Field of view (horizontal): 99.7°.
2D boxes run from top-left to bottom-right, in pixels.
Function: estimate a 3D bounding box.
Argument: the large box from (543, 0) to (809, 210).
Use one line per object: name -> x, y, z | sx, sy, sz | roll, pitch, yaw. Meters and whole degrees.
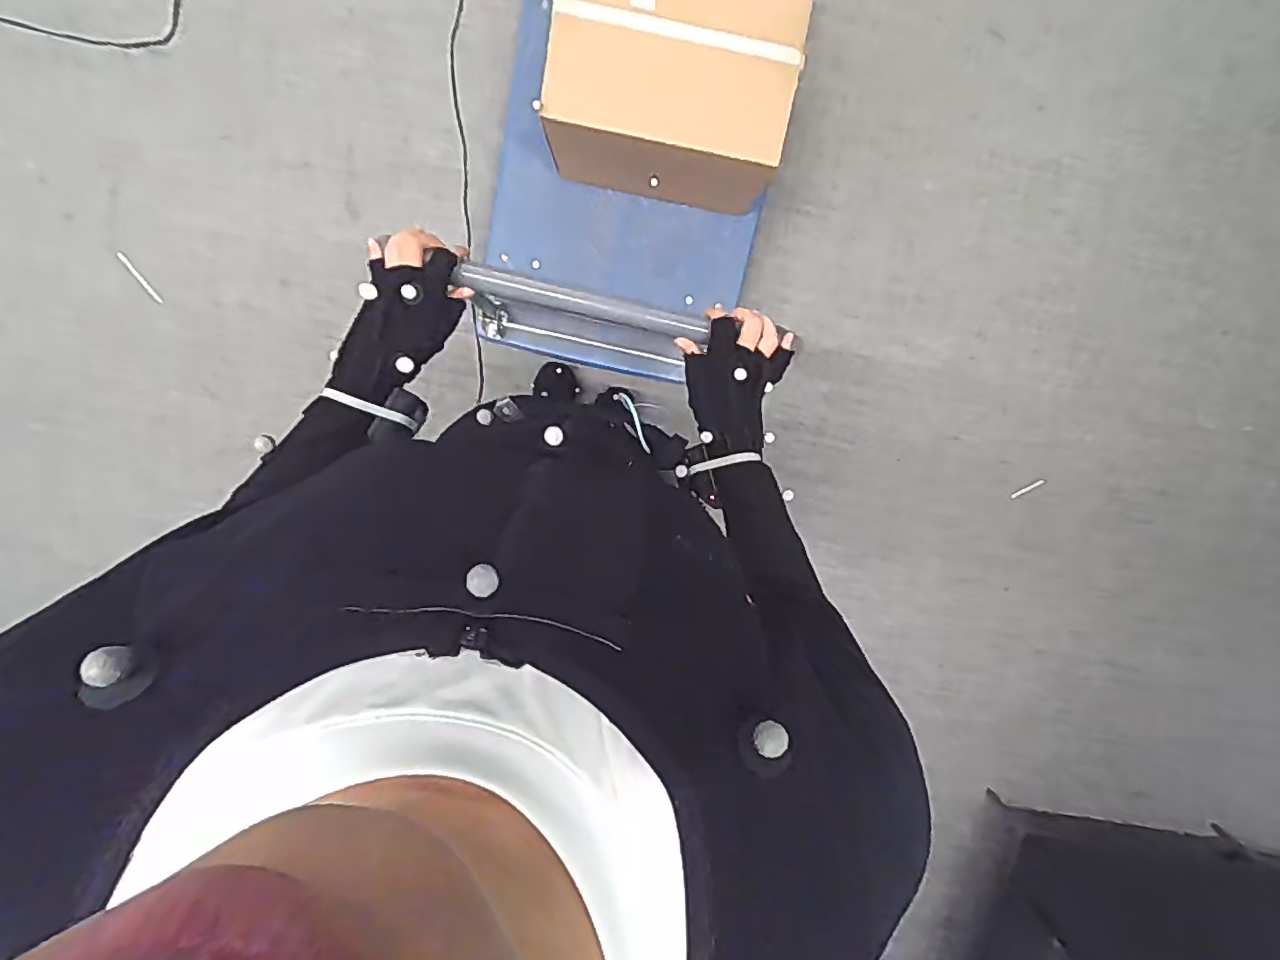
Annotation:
large box -> 0.057, -0.738, 1.010 | 0.408, 0.320, 0.320 | 10, 101, -4
